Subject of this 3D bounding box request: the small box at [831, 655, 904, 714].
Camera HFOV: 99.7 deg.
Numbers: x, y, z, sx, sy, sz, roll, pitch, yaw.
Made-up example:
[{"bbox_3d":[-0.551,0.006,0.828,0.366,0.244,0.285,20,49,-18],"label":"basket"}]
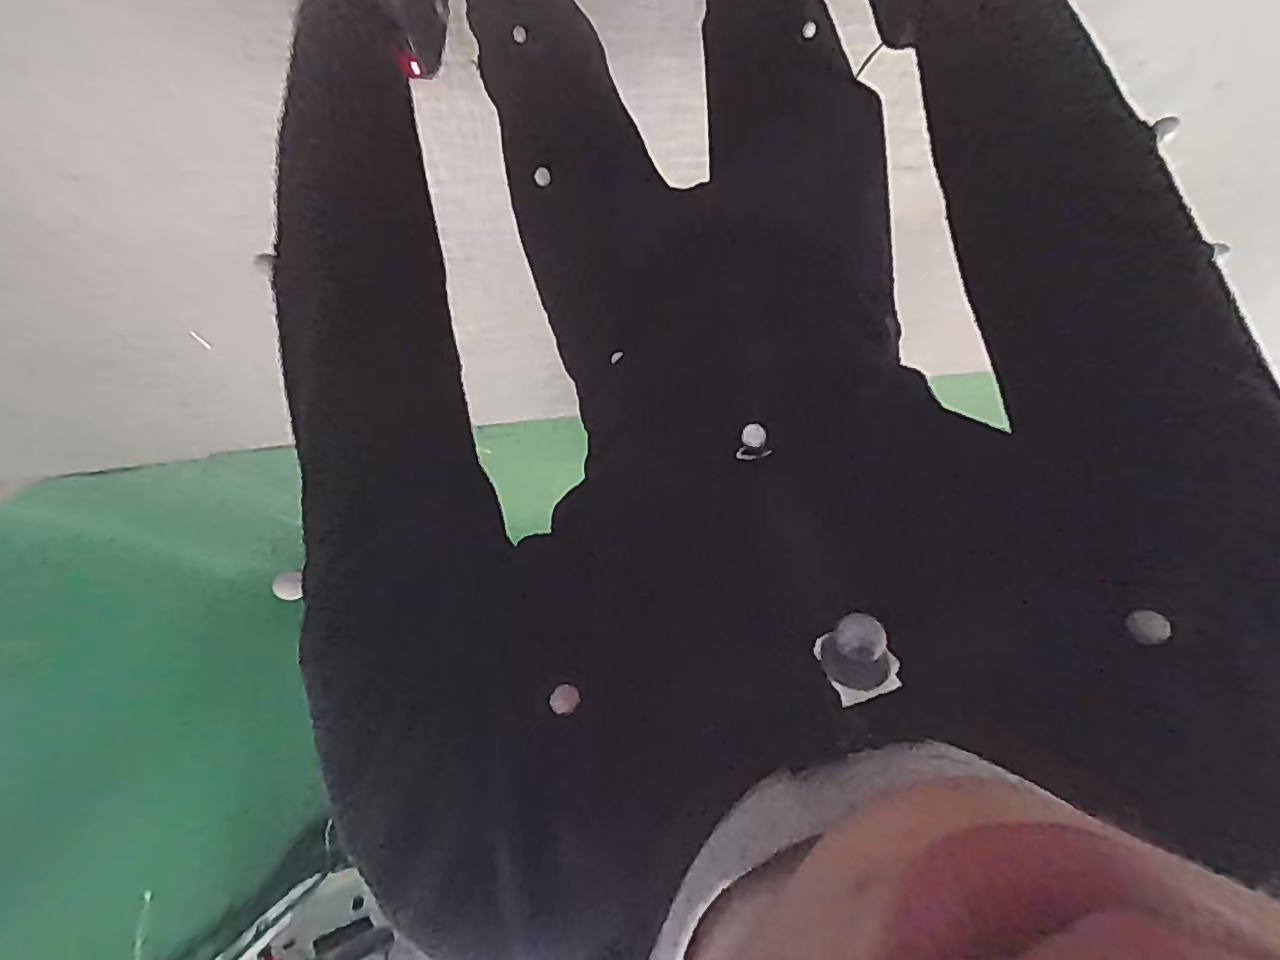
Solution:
[{"bbox_3d":[0.826,0.745,1.986,0.168,0.176,0.179,-8,166,-6],"label":"small box"}]
